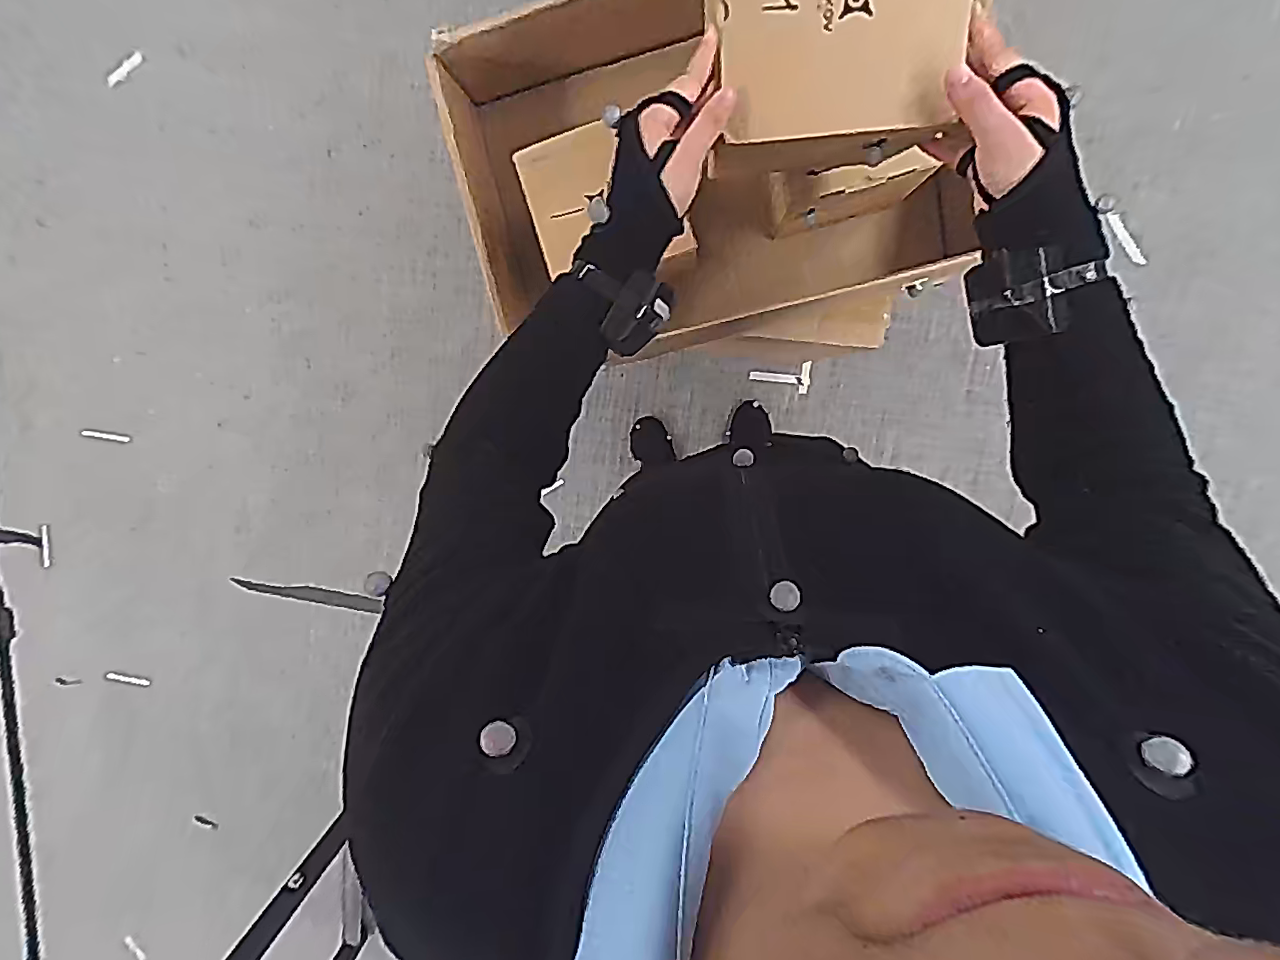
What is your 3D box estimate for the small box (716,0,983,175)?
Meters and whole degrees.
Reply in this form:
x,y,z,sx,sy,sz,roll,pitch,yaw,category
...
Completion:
x,y,z,sx,sy,sz,roll,pitch,yaw,category
0.157,-0.365,0.452,0.179,0.176,0.168,-1,110,5,small box
